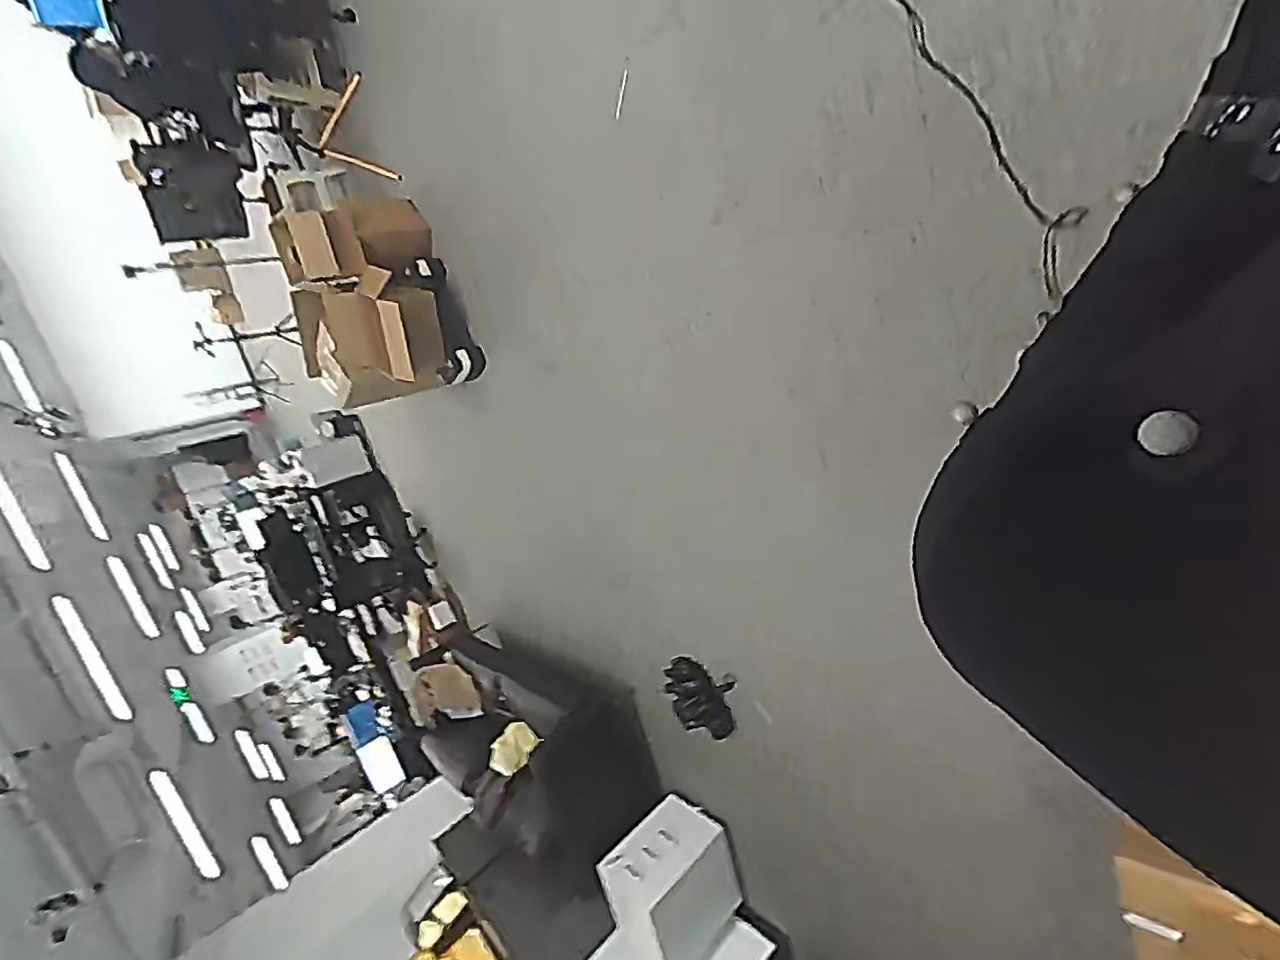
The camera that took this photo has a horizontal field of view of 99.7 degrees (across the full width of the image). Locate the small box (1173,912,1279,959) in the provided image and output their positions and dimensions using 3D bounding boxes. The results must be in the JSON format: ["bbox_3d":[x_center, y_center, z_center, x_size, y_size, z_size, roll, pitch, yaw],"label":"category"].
[{"bbox_3d":[1.089,0.918,0.949,0.179,0.176,0.168,-20,93,54],"label":"small box"}]
